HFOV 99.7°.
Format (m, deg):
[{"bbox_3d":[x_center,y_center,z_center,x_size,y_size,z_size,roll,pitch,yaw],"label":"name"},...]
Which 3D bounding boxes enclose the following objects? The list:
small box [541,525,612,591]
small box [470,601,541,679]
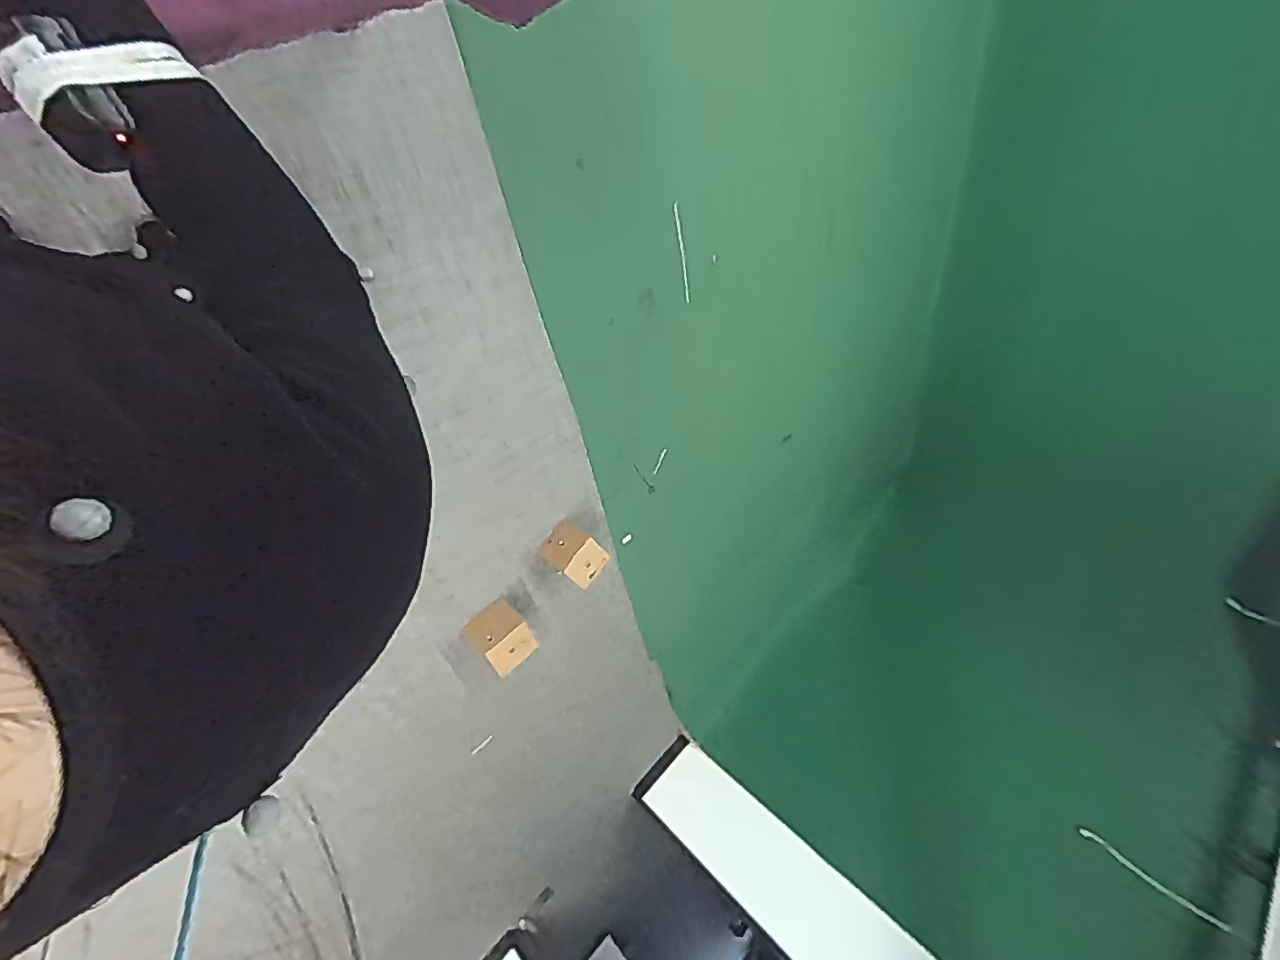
[{"bbox_3d":[-0.249,0.296,2.095,0.168,0.176,0.179,-51,138,-14],"label":"small box"},{"bbox_3d":[-0.500,0.584,1.984,0.179,0.176,0.168,-39,135,-25],"label":"small box"}]
